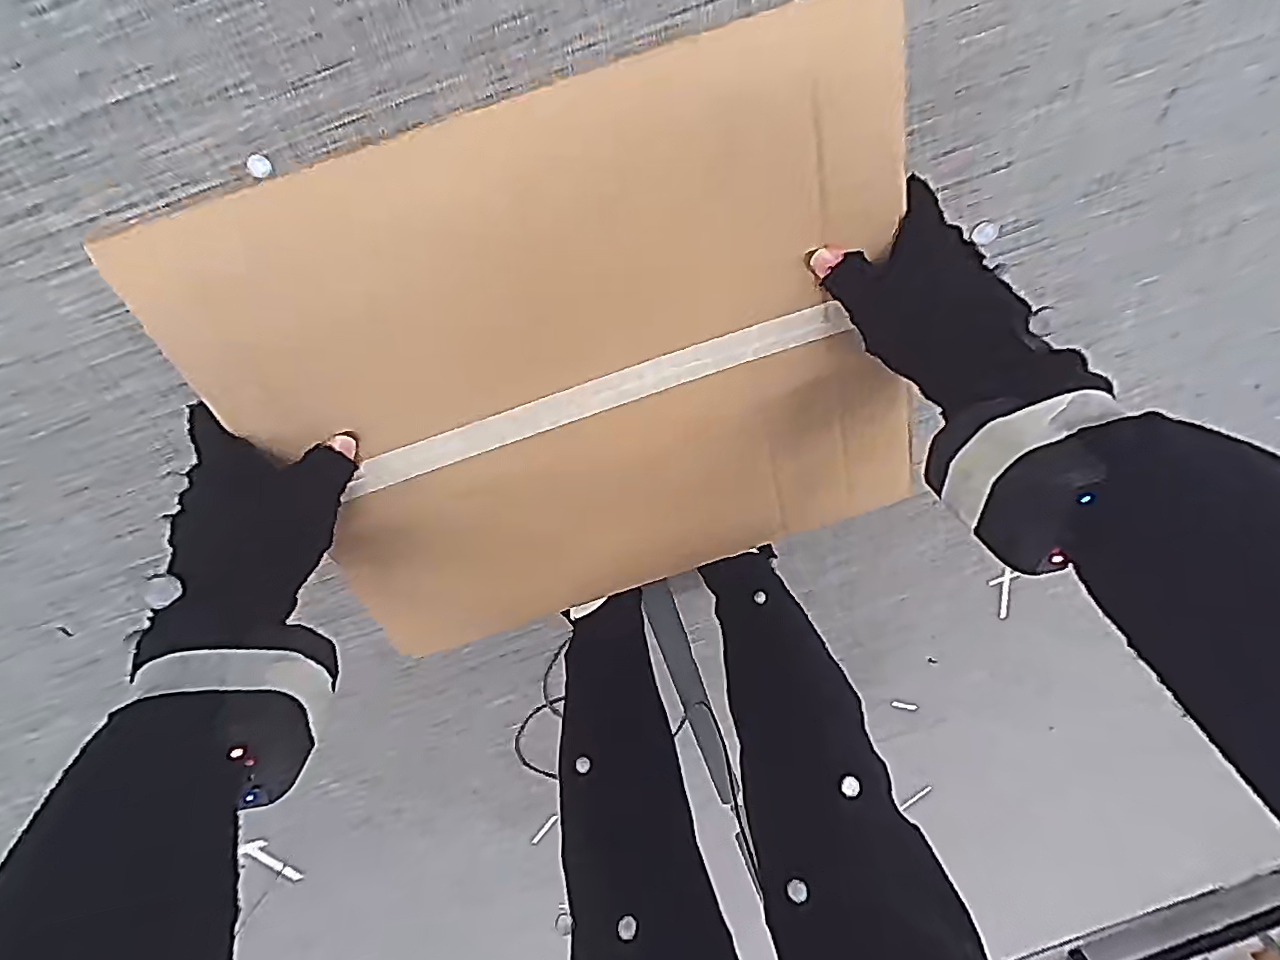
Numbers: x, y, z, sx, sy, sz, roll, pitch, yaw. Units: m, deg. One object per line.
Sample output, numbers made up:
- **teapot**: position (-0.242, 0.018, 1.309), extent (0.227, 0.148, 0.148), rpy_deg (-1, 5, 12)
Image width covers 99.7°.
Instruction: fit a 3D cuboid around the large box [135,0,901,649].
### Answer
- **large box**: position (-0.051, -0.125, 0.469), extent (0.408, 0.320, 0.320), rpy_deg (-18, 123, 0)
